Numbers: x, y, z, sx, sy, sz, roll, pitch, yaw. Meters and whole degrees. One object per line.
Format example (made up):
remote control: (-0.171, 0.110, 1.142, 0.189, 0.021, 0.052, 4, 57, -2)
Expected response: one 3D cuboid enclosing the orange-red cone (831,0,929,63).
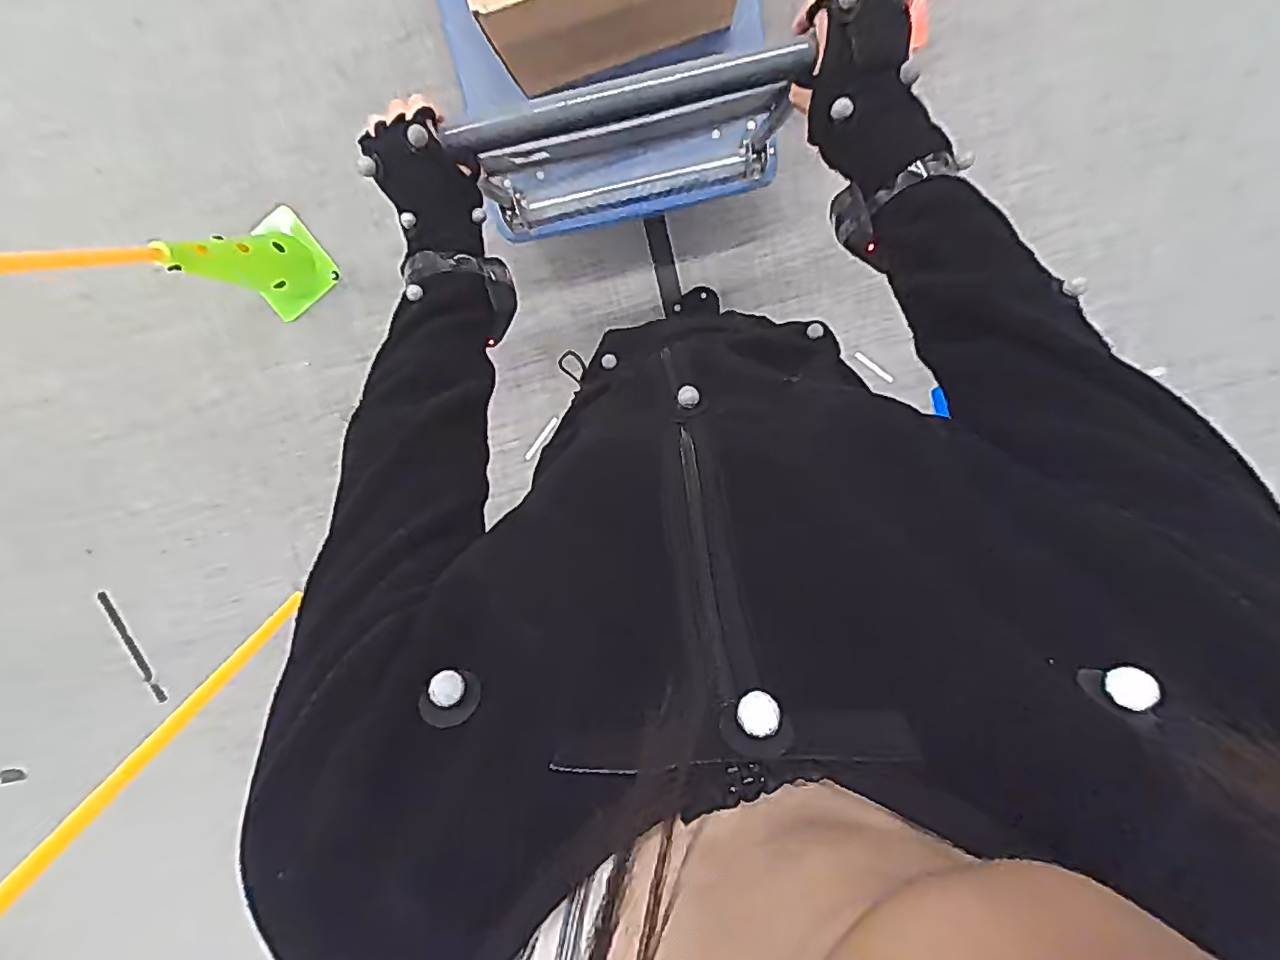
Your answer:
orange-red cone: (0.488, -0.932, 0.948, 0.199, 0.360, 0.198, -8, 108, 4)
